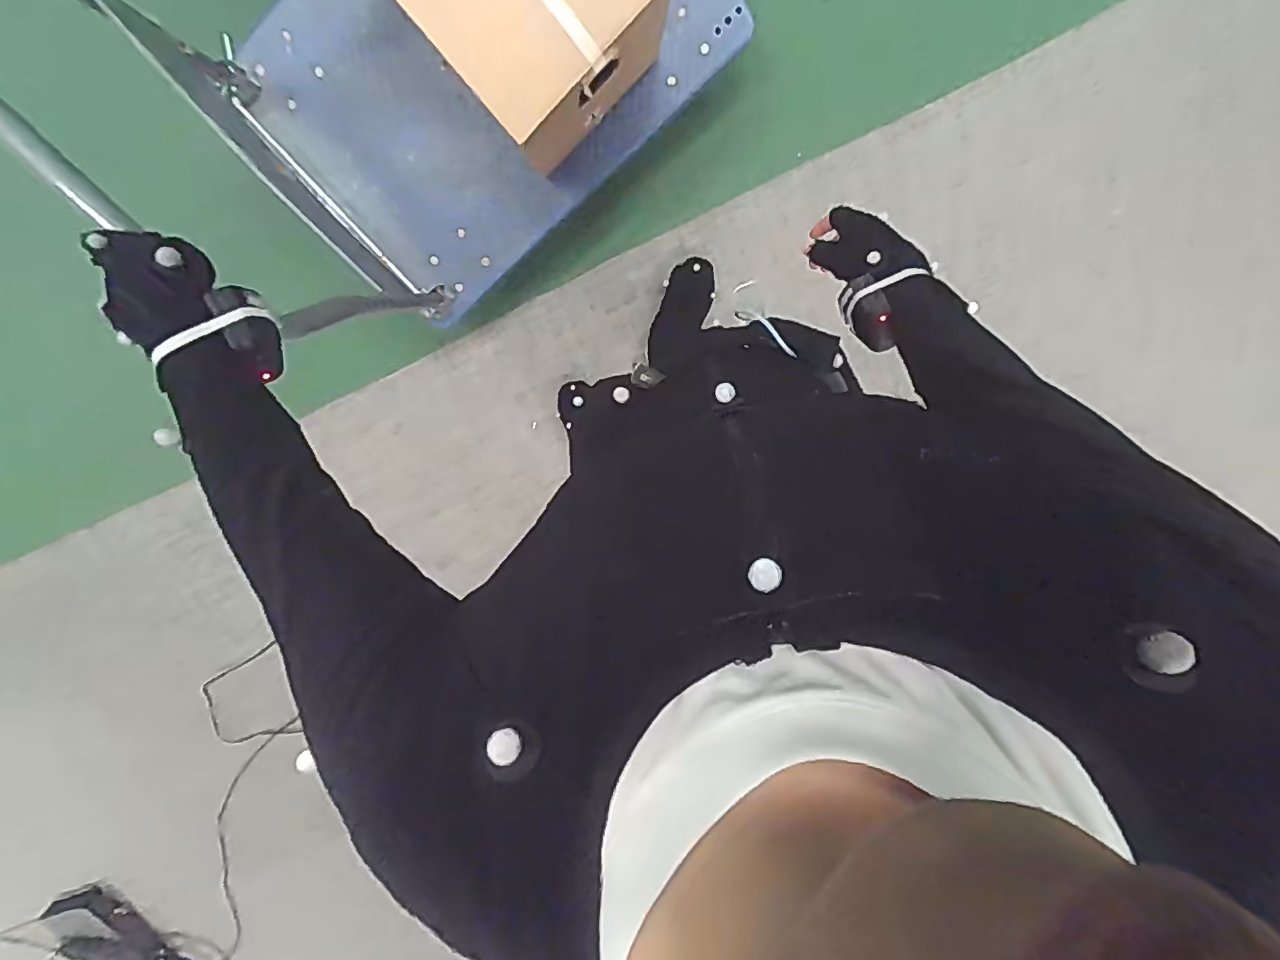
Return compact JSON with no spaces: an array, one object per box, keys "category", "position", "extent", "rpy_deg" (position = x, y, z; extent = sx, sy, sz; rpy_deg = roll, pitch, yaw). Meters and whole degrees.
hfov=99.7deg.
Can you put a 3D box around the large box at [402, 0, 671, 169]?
[{"category":"large box","position":[-0.194,-0.791,0.852],"extent":[0.320,0.320,0.408],"rpy_deg":[-41,107,12]}]
